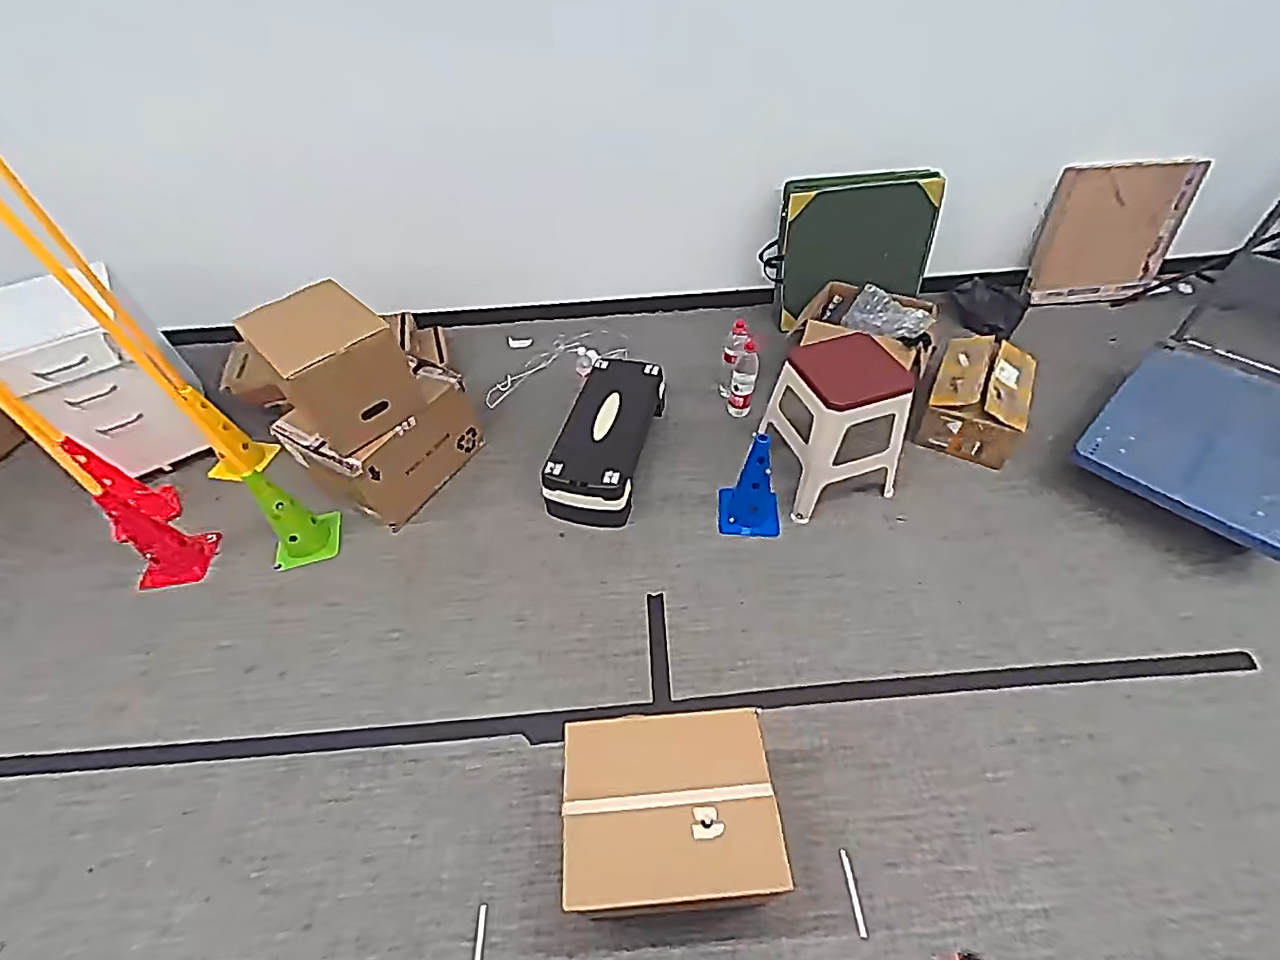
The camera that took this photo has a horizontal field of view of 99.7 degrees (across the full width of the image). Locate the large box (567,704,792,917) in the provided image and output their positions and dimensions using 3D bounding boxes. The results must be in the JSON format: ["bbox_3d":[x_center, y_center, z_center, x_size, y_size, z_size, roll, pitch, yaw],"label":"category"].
[{"bbox_3d":[0.061,0.706,1.151,0.408,0.320,0.320,-4,49,-2],"label":"large box"}]
